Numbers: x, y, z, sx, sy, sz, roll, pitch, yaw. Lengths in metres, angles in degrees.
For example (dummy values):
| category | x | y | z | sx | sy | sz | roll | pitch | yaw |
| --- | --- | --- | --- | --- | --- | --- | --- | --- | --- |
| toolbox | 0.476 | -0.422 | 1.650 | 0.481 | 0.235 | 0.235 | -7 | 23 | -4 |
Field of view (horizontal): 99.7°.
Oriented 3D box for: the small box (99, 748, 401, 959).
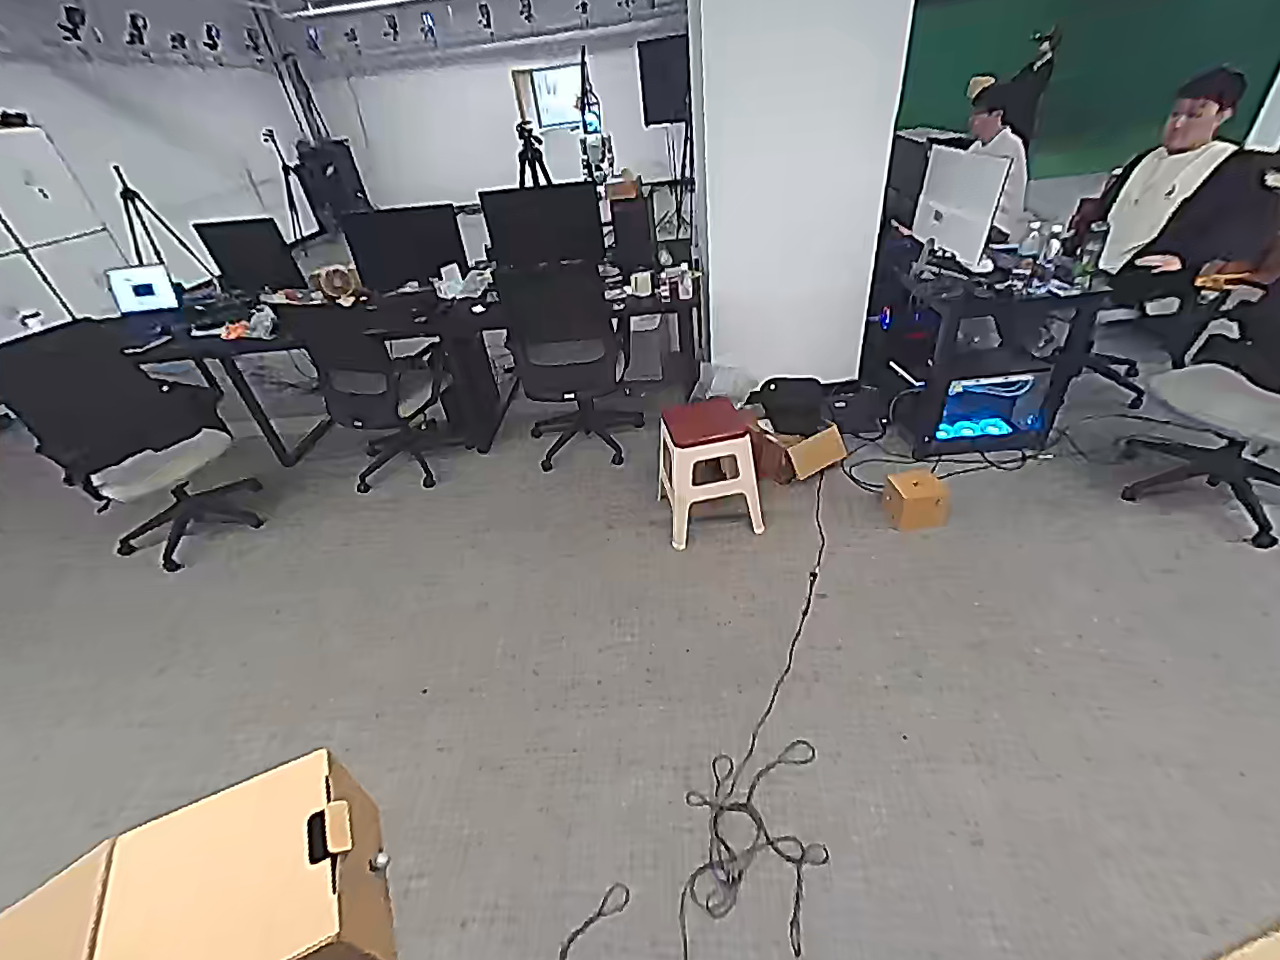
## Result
| category | x | y | z | sx | sy | sz | roll | pitch | yaw |
| --- | --- | --- | --- | --- | --- | --- | --- | --- | --- |
| small box | -0.349 | 0.400 | 0.509 | 0.179 | 0.176 | 0.168 | -18 | 44 | -20 |
